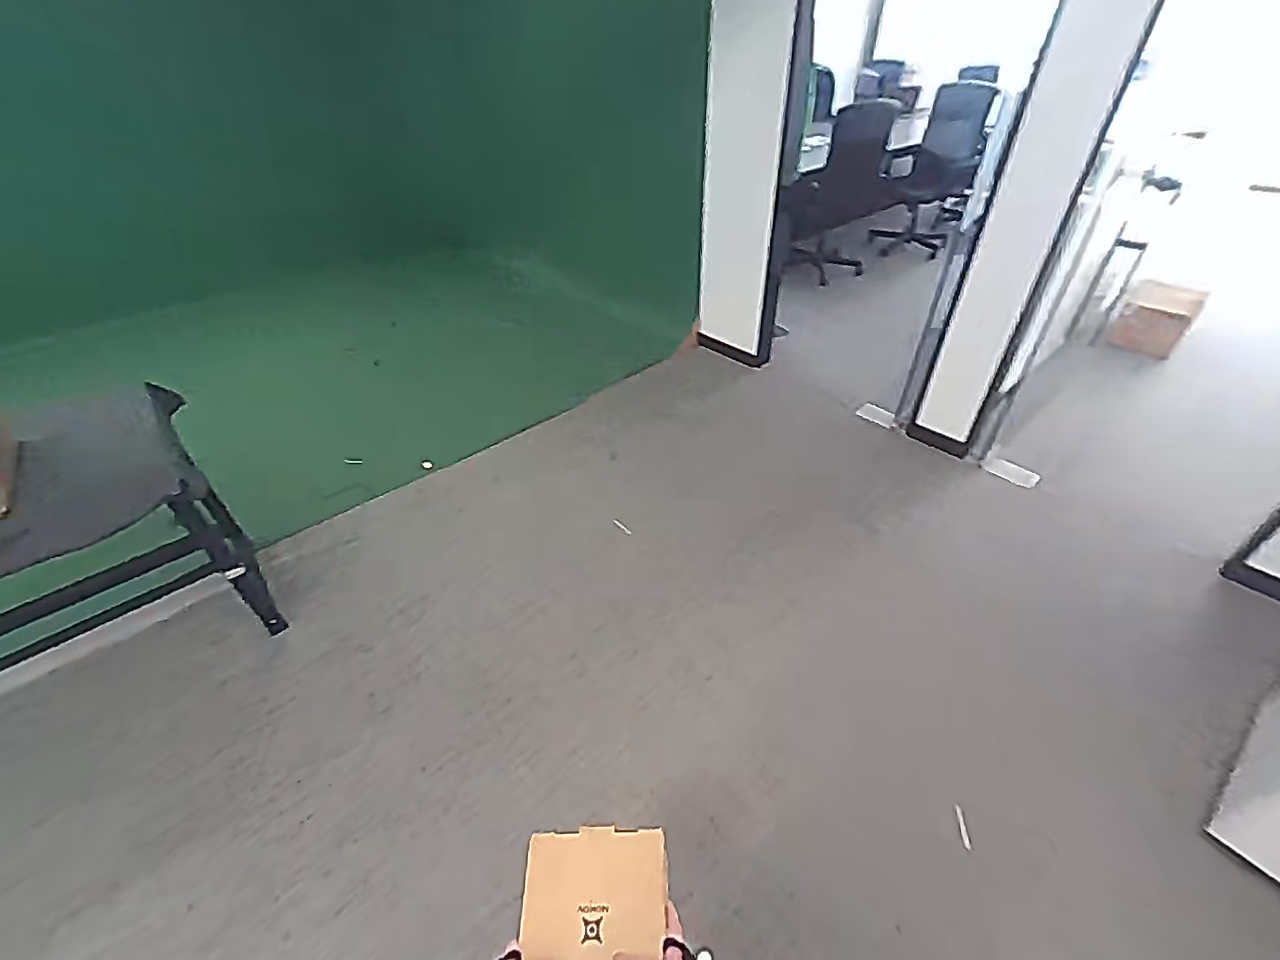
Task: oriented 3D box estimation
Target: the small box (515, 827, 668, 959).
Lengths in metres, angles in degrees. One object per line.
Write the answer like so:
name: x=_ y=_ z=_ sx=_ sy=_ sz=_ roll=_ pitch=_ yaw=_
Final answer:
small box: x=-0.051 y=0.549 z=0.660 sx=0.168 sy=0.176 sz=0.179 roll=-2 pitch=44 yaw=2
